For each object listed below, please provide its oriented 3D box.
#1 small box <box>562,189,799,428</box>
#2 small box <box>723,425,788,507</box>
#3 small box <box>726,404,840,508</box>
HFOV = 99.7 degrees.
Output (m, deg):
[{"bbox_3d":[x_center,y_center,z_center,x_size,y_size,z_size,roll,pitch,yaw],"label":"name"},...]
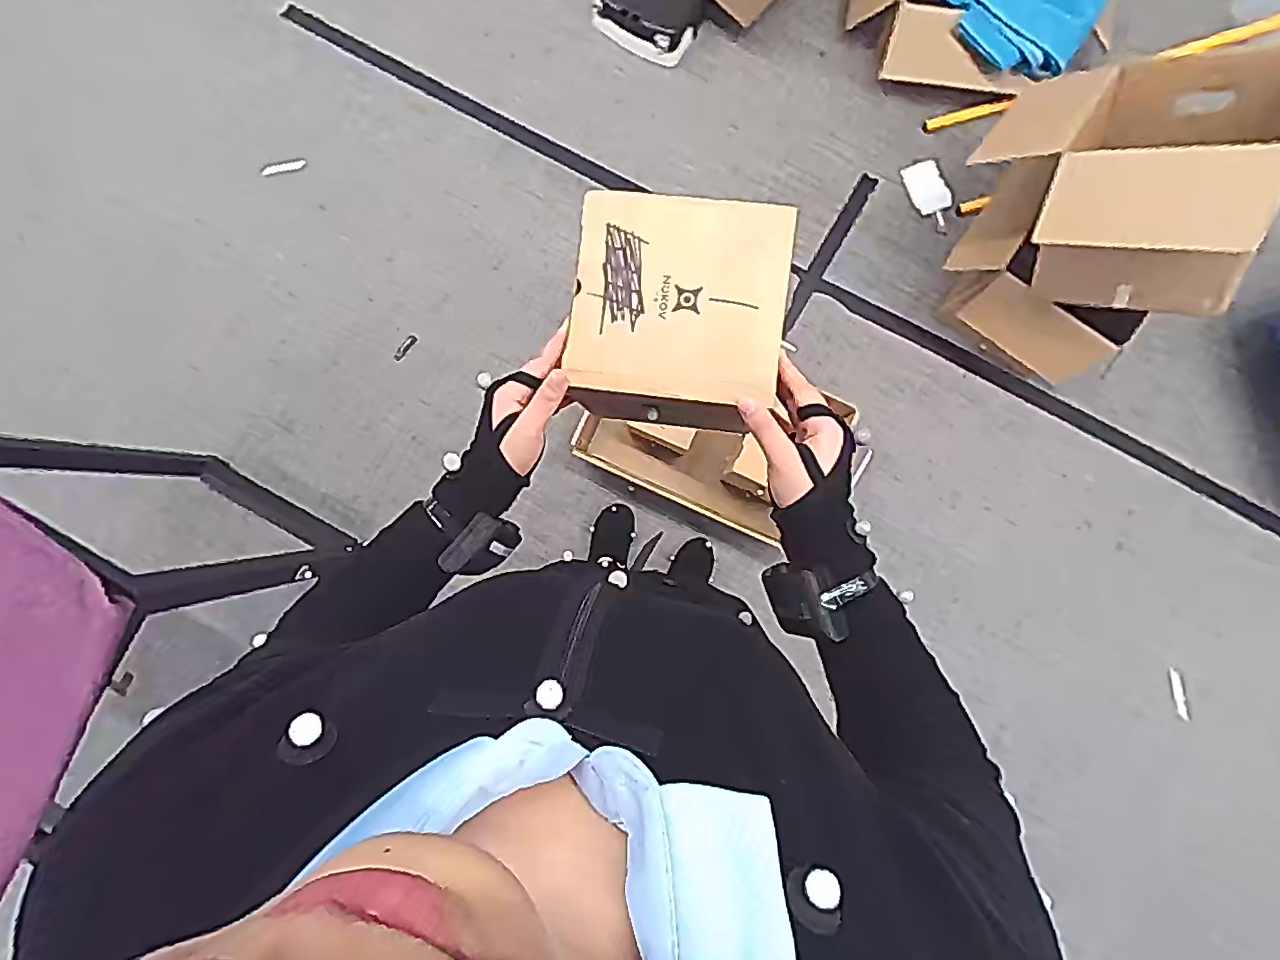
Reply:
[{"bbox_3d":[0.038,-0.146,0.515,0.179,0.176,0.168,7,89,4],"label":"small box"},{"bbox_3d":[0.321,-0.043,1.371,0.168,0.176,0.179,26,88,3],"label":"small box"},{"bbox_3d":[0.309,-0.050,1.208,0.179,0.176,0.168,26,89,4],"label":"small box"}]
